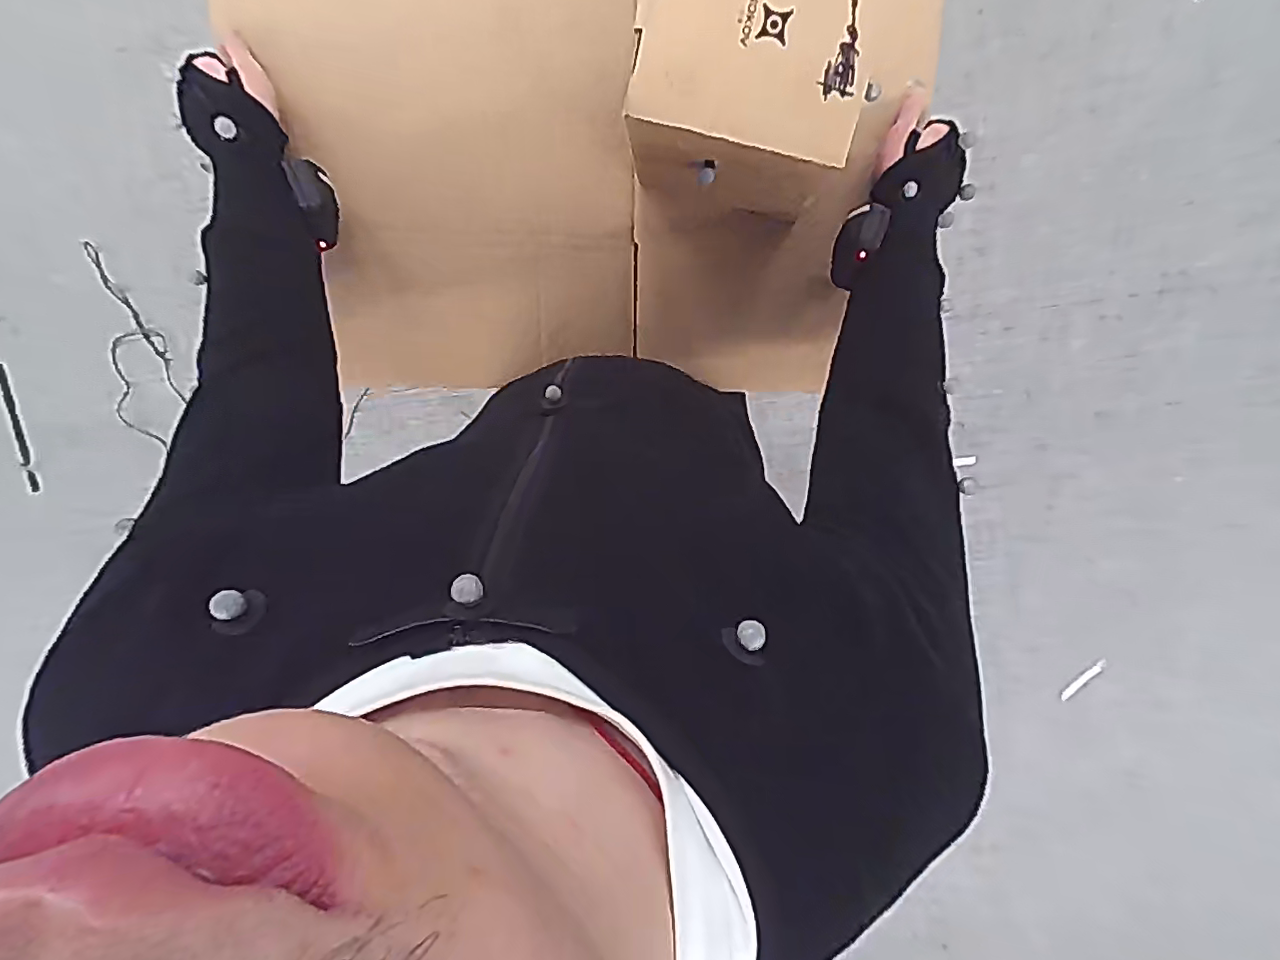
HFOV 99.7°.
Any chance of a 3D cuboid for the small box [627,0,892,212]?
[{"bbox_3d":[0.099,-0.358,0.479,0.179,0.176,0.168,14,104,1],"label":"small box"}]
